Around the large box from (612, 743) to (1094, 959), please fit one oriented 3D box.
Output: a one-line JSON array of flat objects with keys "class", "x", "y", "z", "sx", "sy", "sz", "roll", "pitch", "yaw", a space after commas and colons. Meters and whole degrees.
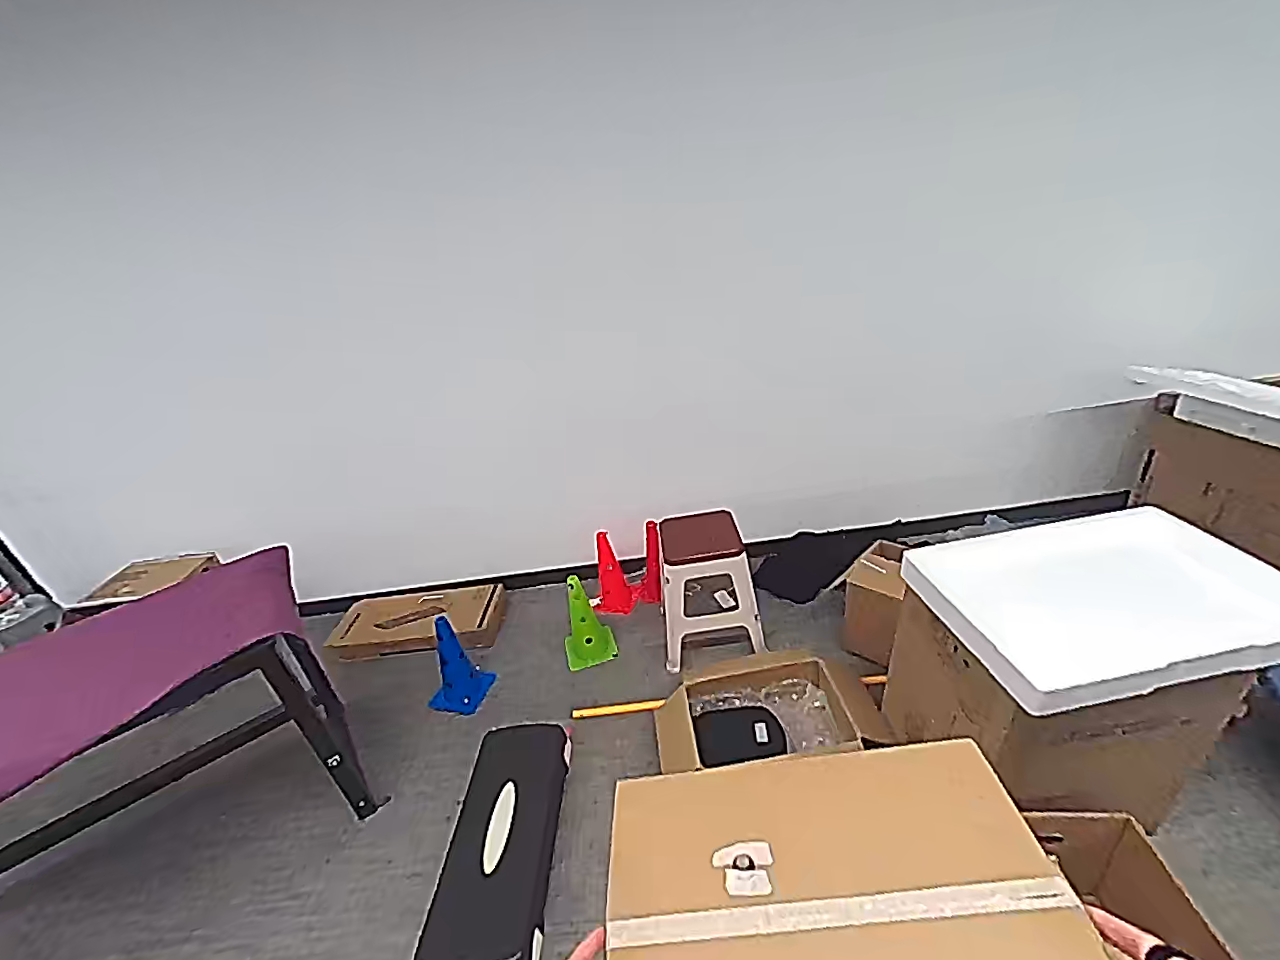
[{"class": "large box", "x": 0.201, "y": 0.530, "z": 0.549, "sx": 0.408, "sy": 0.320, "sz": 0.320, "roll": -12, "pitch": 24, "yaw": 6}]
